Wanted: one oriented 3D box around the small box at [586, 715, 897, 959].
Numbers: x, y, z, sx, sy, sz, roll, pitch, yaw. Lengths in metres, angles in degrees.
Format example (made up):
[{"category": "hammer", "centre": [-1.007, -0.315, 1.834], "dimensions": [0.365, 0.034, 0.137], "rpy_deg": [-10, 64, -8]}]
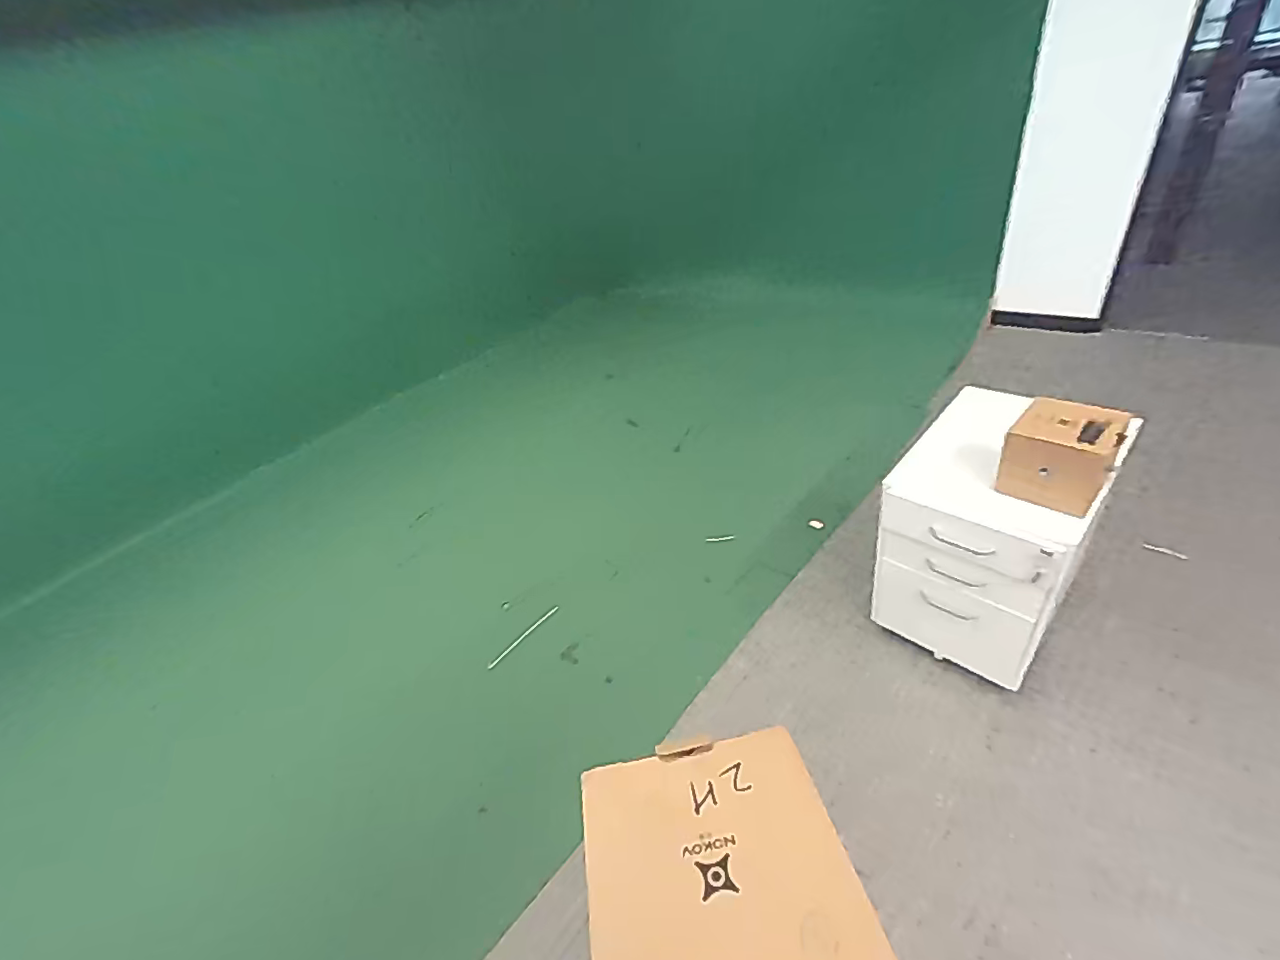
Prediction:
[{"category": "small box", "centre": [0.059, 0.308, 0.384], "dimensions": [0.168, 0.176, 0.179], "rpy_deg": [-10, 26, -4]}]
